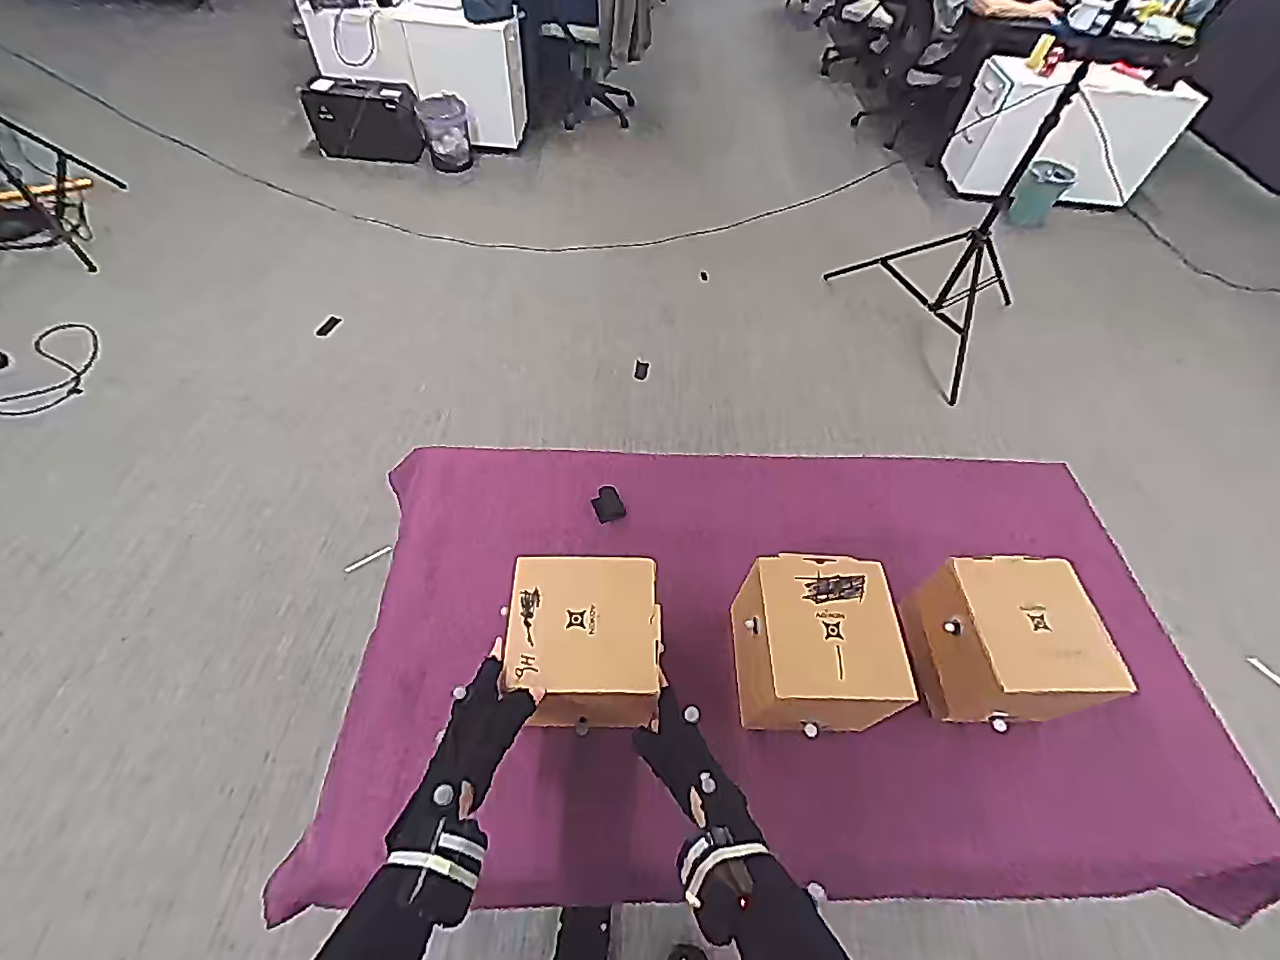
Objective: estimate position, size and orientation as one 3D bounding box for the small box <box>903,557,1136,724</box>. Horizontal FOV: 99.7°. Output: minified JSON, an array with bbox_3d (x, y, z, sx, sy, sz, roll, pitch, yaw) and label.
[{"bbox_3d":[0.493,0.222,0.741,0.168,0.176,0.179,0,54,-3],"label":"small box"}]

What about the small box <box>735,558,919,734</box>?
[{"bbox_3d":[0.228,0.223,0.717,0.168,0.176,0.179,2,54,-3],"label":"small box"}]

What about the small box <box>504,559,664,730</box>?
[{"bbox_3d":[-0.068,0.216,0.698,0.179,0.176,0.168,2,53,-4],"label":"small box"}]
